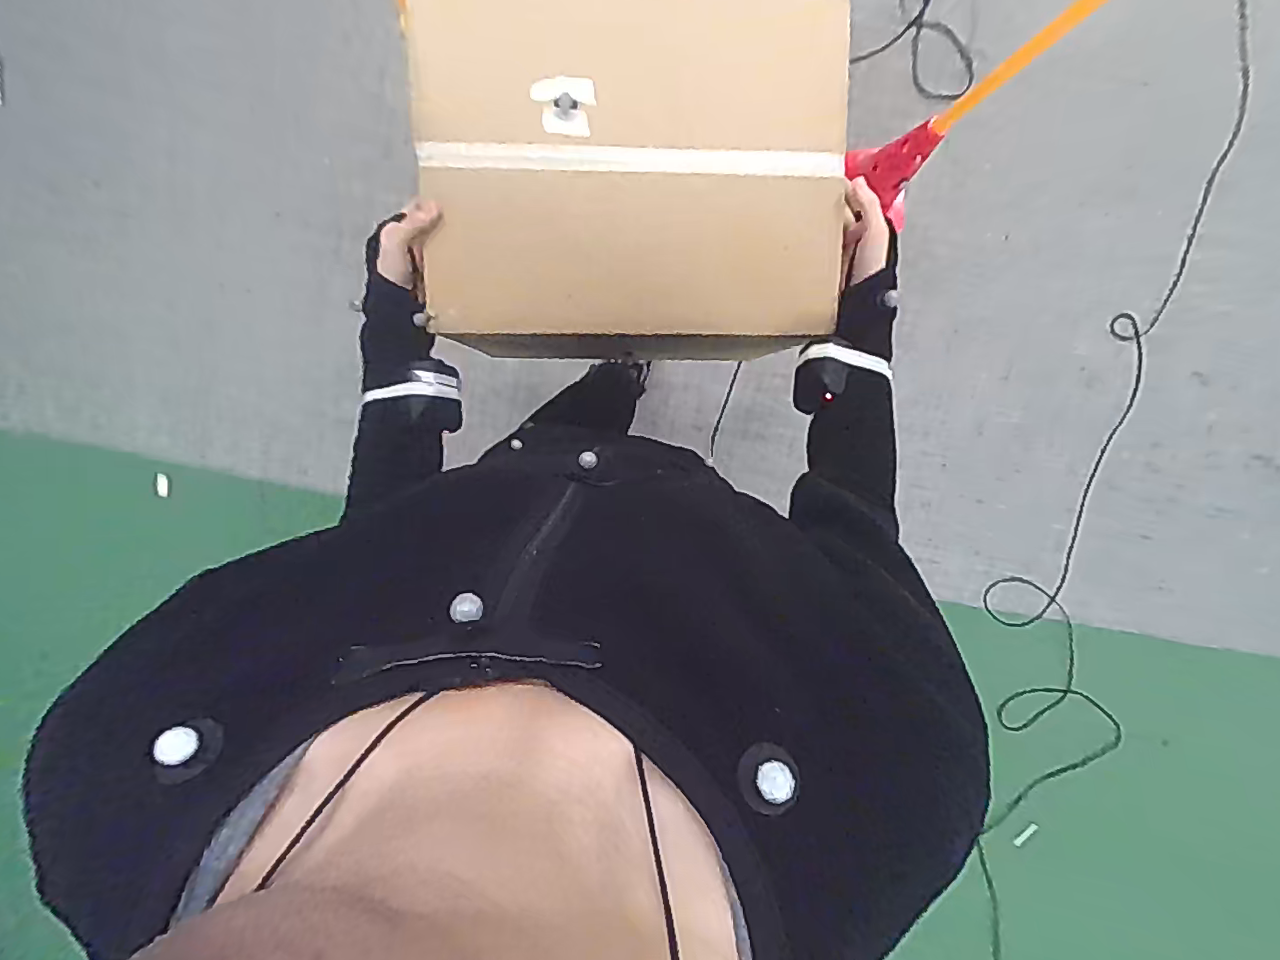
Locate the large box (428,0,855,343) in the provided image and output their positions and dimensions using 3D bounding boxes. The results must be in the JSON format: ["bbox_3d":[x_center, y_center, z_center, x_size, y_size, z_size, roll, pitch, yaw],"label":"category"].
[{"bbox_3d":[-0.001,-0.338,0.666,0.408,0.320,0.320,0,98,-4],"label":"large box"}]
